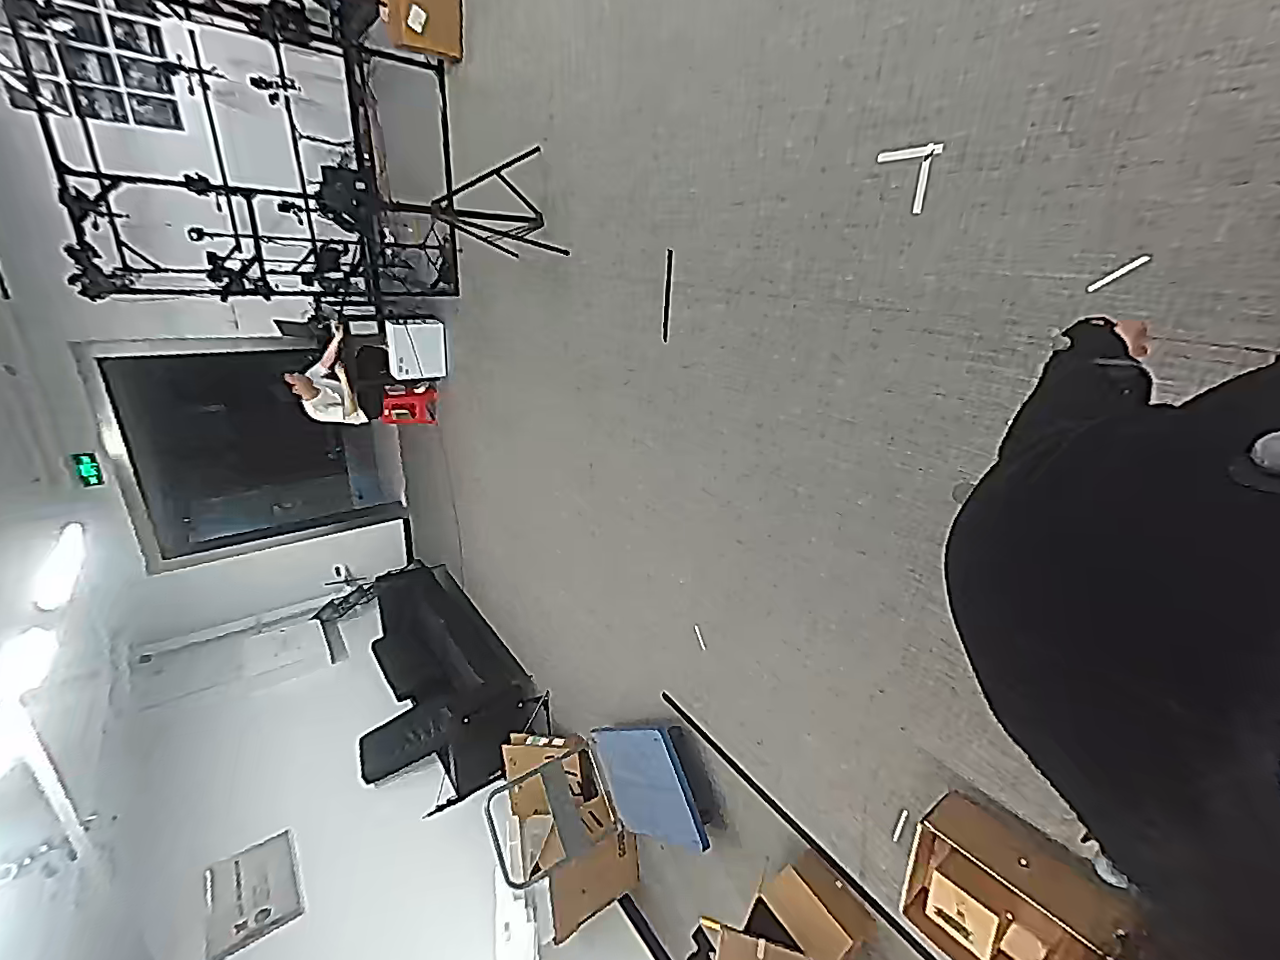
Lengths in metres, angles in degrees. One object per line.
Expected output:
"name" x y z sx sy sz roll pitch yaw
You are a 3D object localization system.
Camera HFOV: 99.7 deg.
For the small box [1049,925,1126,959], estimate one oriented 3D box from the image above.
"small box" 1.101 1.251 1.315 0.168 0.176 0.179 38 130 44
